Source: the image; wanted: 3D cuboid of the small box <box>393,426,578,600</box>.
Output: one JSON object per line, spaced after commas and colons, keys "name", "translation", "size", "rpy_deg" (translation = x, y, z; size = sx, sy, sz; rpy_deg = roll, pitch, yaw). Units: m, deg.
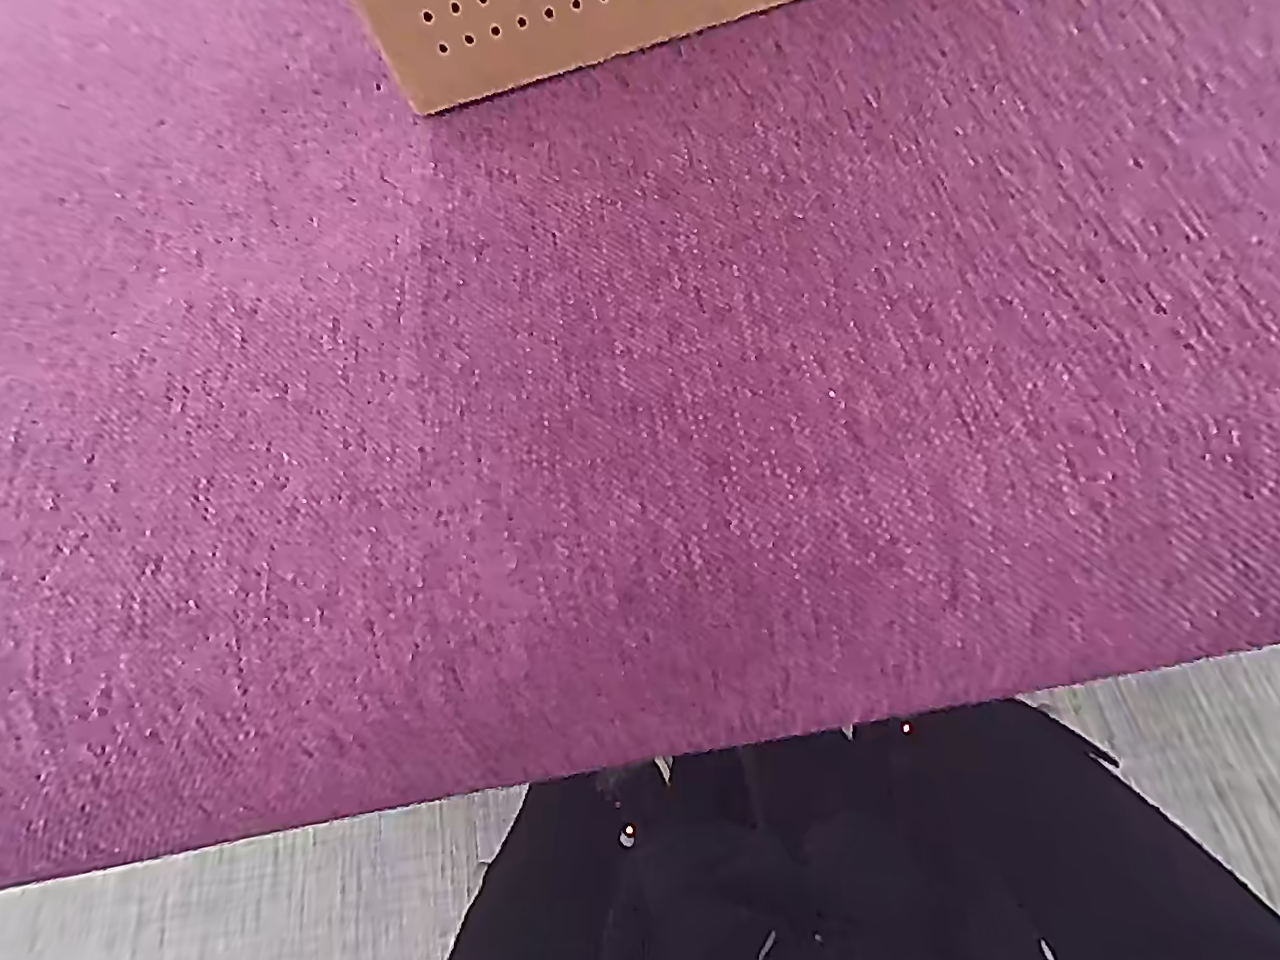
{"name": "small box", "translation": [-0.185, 0.052, 0.689], "size": [0.179, 0.176, 0.168], "rpy_deg": [-13, 71, 5]}
